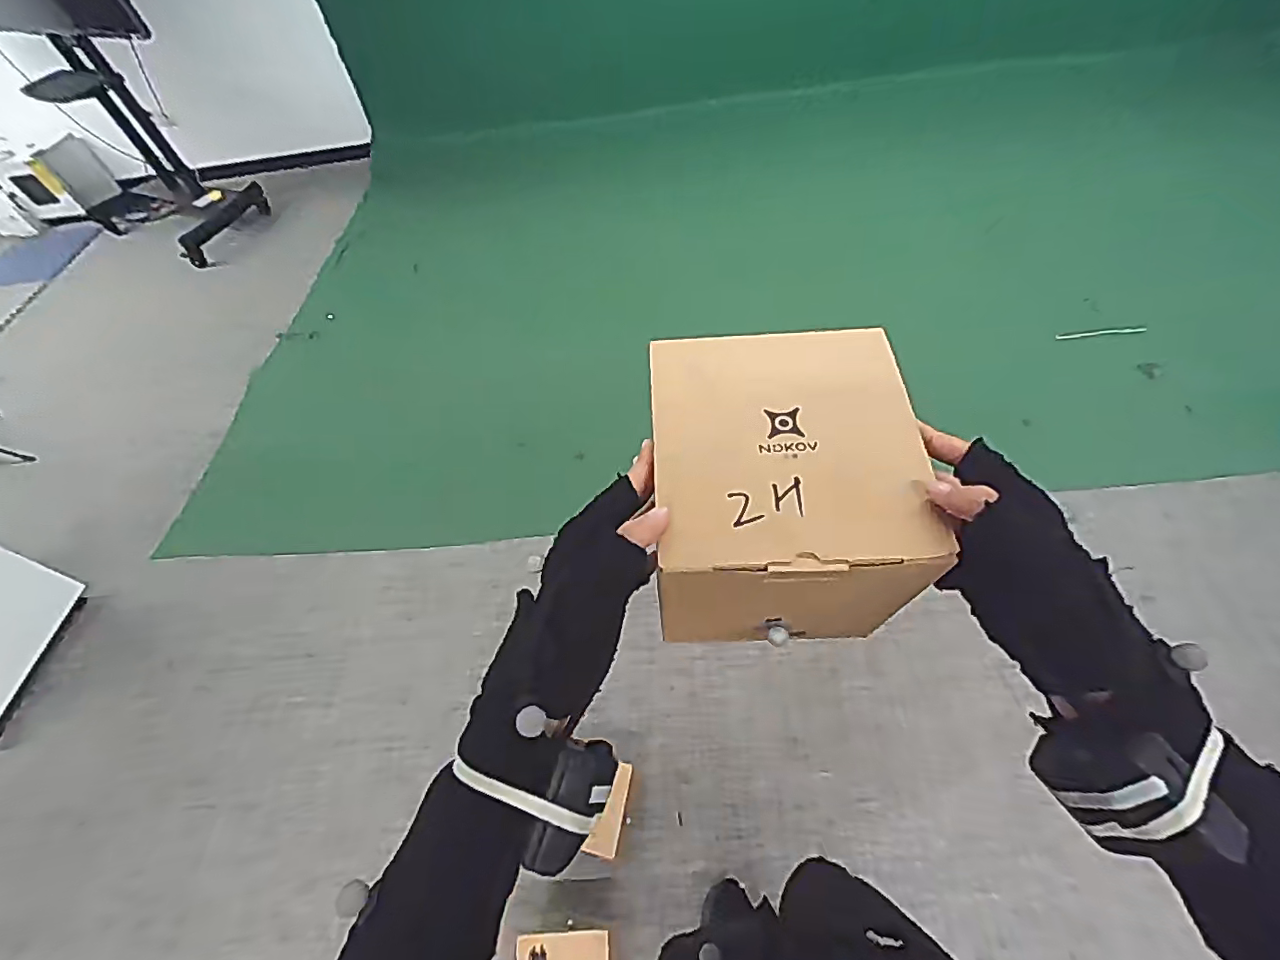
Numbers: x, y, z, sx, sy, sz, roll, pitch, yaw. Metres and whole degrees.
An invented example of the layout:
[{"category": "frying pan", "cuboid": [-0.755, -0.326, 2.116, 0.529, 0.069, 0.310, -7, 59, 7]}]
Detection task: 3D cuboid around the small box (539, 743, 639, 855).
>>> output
[{"category": "small box", "cuboid": [-0.103, 0.711, 1.200, 0.168, 0.176, 0.179, 7, 54, 12]}]
